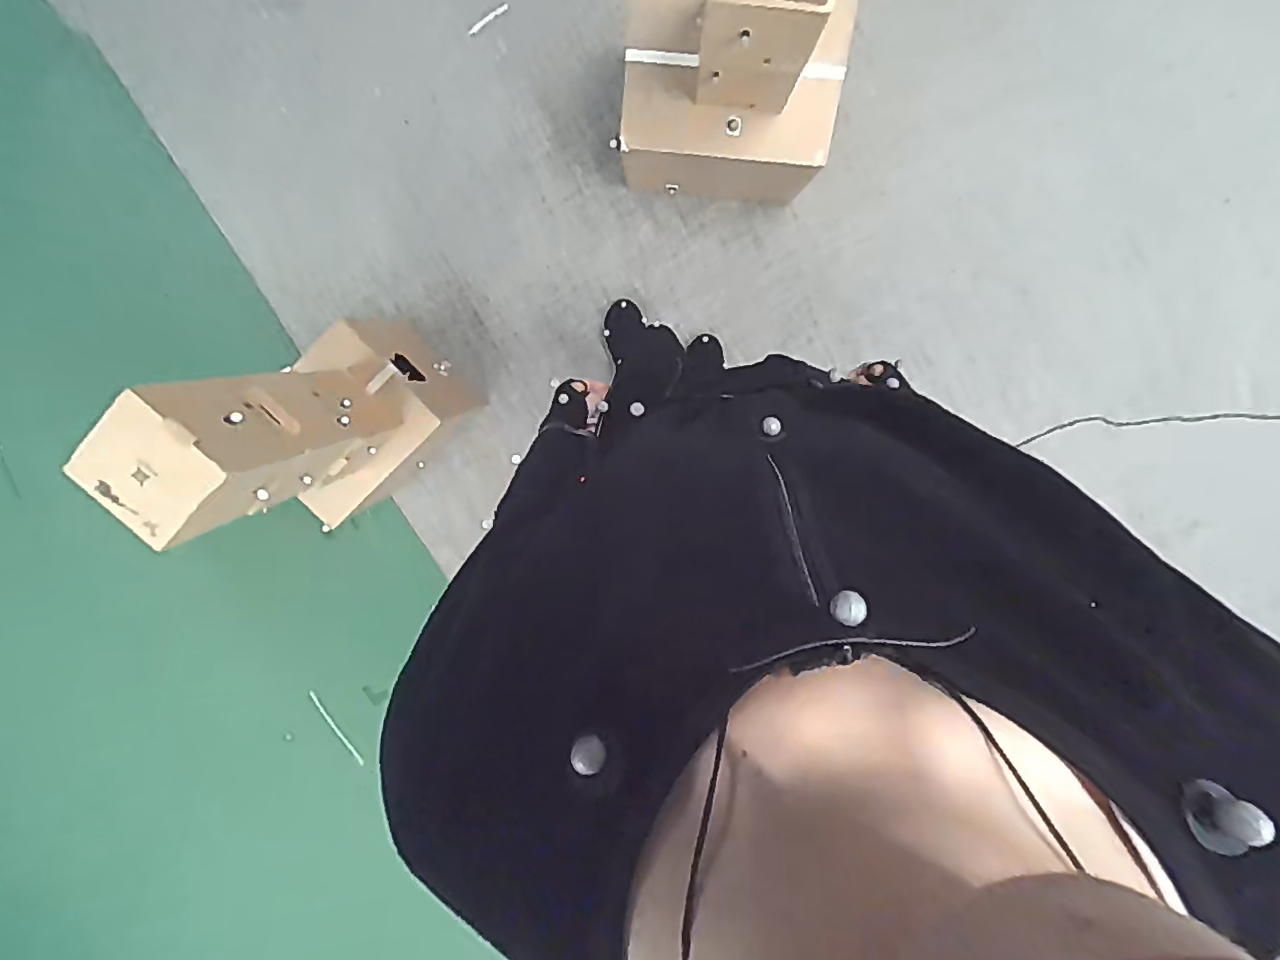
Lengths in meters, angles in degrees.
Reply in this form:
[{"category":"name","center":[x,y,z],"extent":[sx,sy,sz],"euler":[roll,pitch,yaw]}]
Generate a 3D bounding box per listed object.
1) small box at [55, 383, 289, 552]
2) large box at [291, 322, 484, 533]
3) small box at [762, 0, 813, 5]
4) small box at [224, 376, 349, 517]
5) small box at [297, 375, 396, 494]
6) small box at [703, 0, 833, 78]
[{"category":"small box","center":[-0.674,-0.030,0.808],"extent":[0.179,0.176,0.168],"euler":[-40,98,10]},{"category":"large box","center":[-0.678,-0.147,1.369],"extent":[0.408,0.320,0.320],"euler":[-40,97,13]},{"category":"small box","center":[0.161,-0.673,0.595],"extent":[0.179,0.176,0.168],"euler":[9,103,2]},{"category":"small box","center":[-0.661,-0.069,0.967],"extent":[0.179,0.176,0.168],"euler":[-41,99,12]},{"category":"small box","center":[-0.652,-0.104,1.126],"extent":[0.168,0.176,0.179],"euler":[-40,98,11]},{"category":"small box","center":[0.181,-0.704,0.756],"extent":[0.168,0.176,0.179],"euler":[7,102,2]}]
